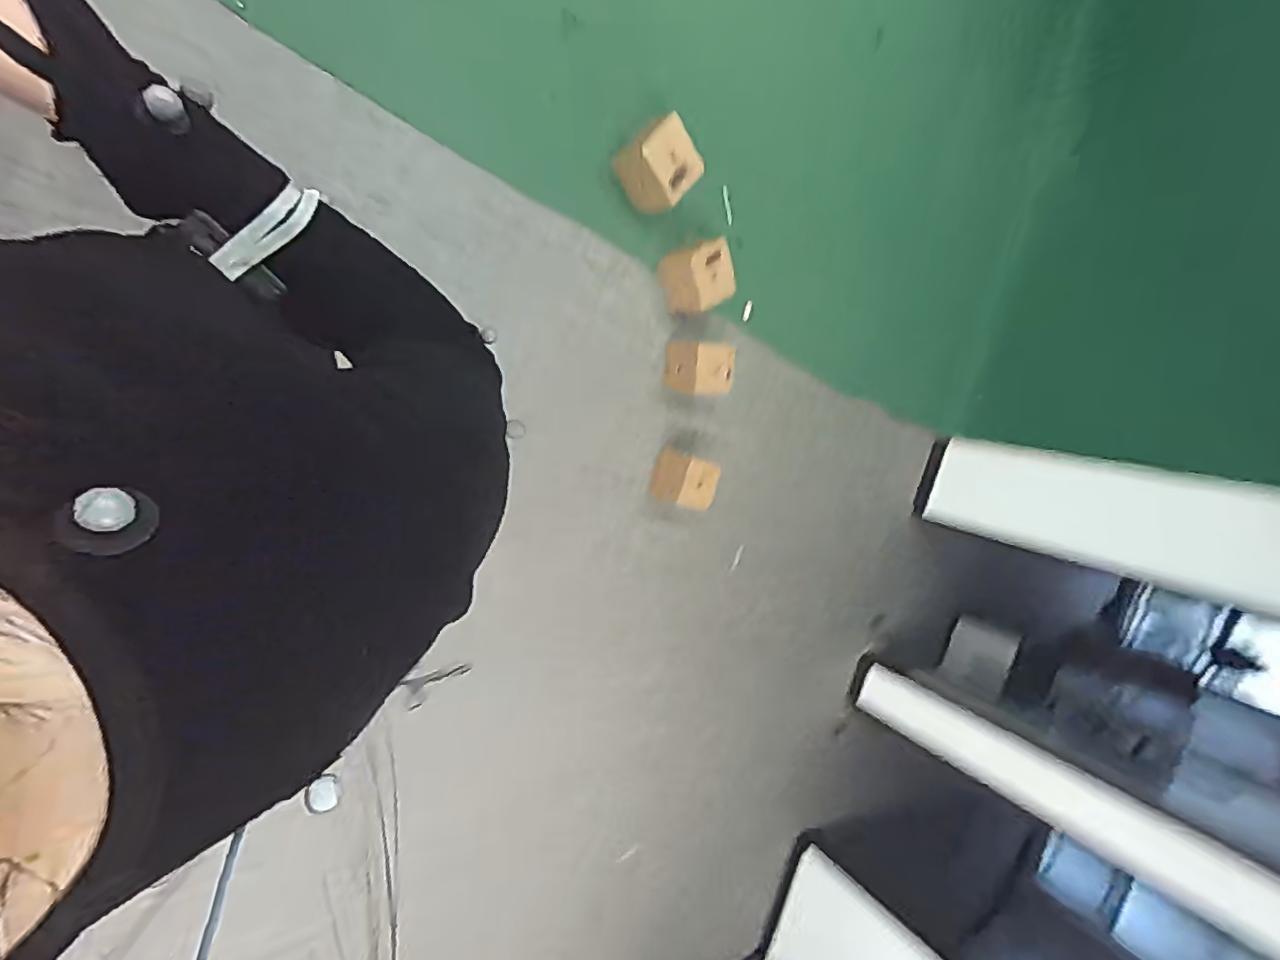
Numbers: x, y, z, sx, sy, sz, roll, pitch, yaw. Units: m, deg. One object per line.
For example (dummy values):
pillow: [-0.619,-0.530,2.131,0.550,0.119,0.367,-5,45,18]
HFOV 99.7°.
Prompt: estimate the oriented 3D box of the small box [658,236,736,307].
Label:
small box: [0.183,-0.679,1.777,0.168,0.176,0.179,-36,123,-25]

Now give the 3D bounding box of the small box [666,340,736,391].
small box: [0.206,-0.399,1.879,0.179,0.176,0.168,-8,108,-35]

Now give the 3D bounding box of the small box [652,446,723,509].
small box: [0.167,-0.011,1.964,0.168,0.176,0.179,12,96,-40]
